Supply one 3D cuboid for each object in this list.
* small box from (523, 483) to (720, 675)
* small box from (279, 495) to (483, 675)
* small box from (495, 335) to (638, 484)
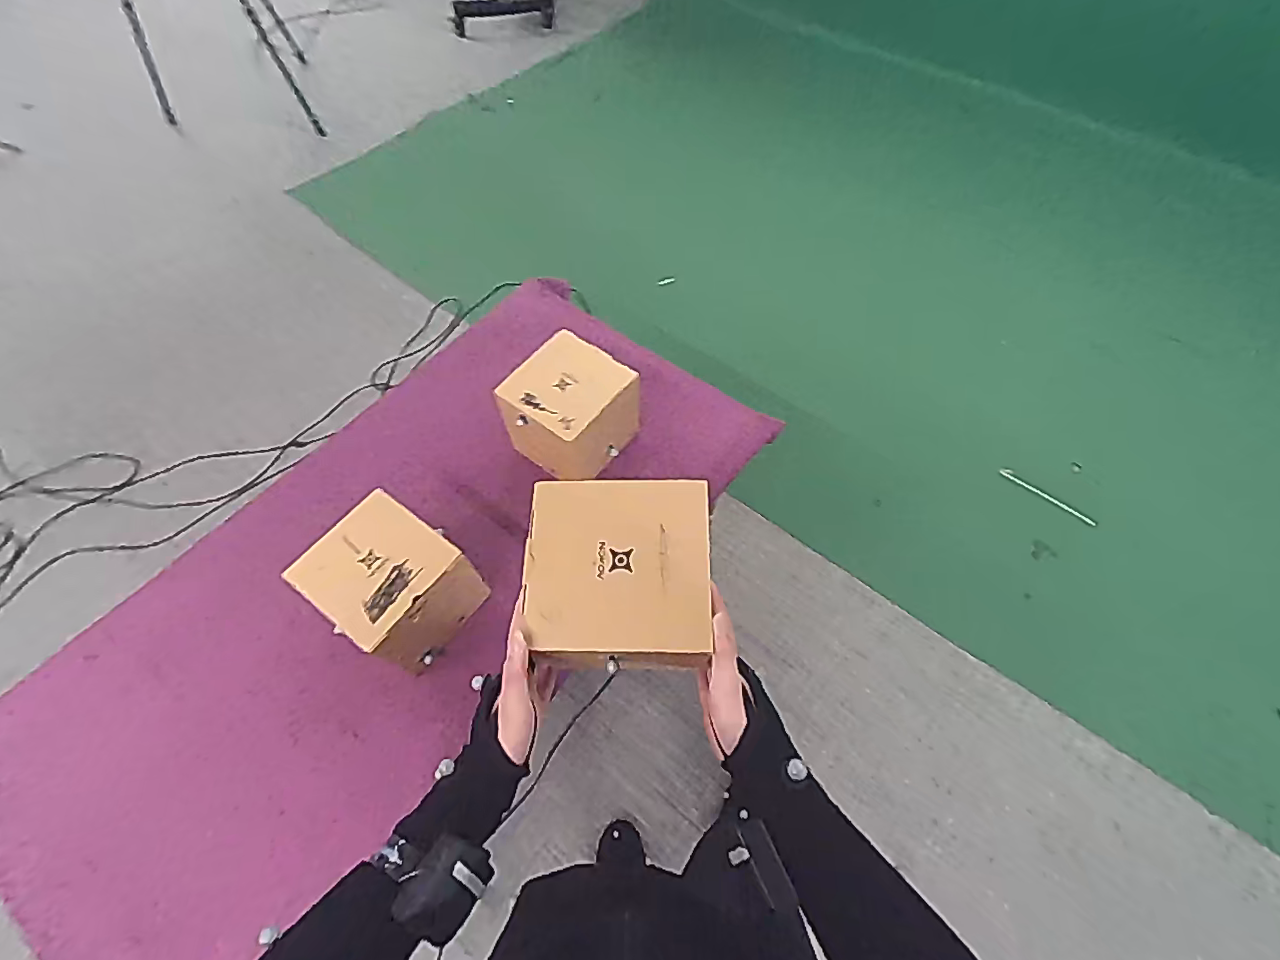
[{"bbox_3d":[-0.009,0.112,0.572,0.179,0.176,0.168,1,66,4],"label":"small box"},{"bbox_3d":[-0.355,0.159,0.780,0.179,0.176,0.168,32,64,17],"label":"small box"},{"bbox_3d":[-0.121,-0.109,0.941,0.168,0.176,0.179,34,65,17],"label":"small box"}]
